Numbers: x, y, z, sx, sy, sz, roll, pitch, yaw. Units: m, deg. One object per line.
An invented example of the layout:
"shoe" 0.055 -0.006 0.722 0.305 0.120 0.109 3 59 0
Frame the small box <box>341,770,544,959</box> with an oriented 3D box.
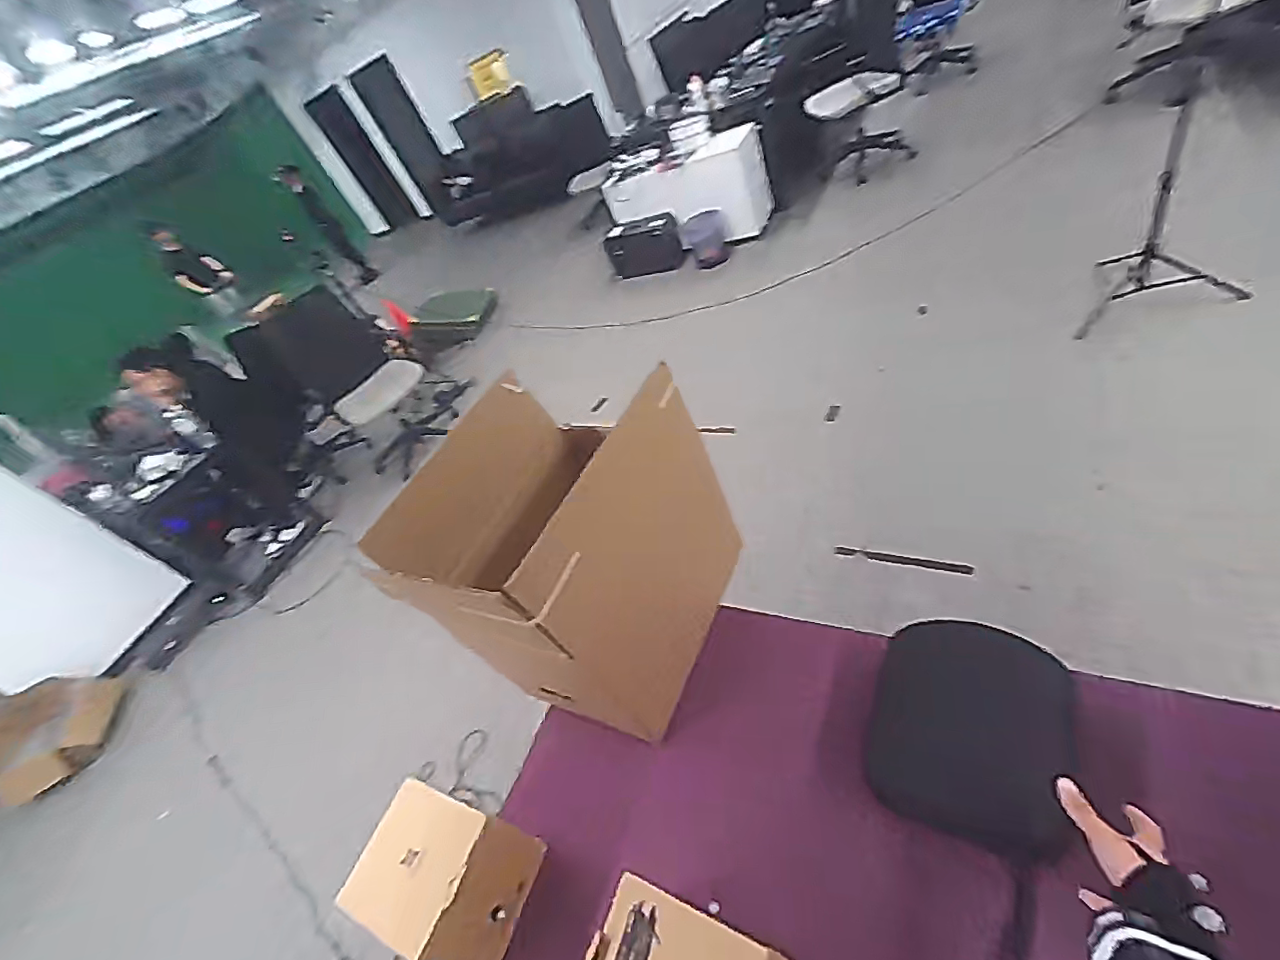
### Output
"small box" -0.275 0.558 0.784 0.179 0.176 0.168 3 50 31
